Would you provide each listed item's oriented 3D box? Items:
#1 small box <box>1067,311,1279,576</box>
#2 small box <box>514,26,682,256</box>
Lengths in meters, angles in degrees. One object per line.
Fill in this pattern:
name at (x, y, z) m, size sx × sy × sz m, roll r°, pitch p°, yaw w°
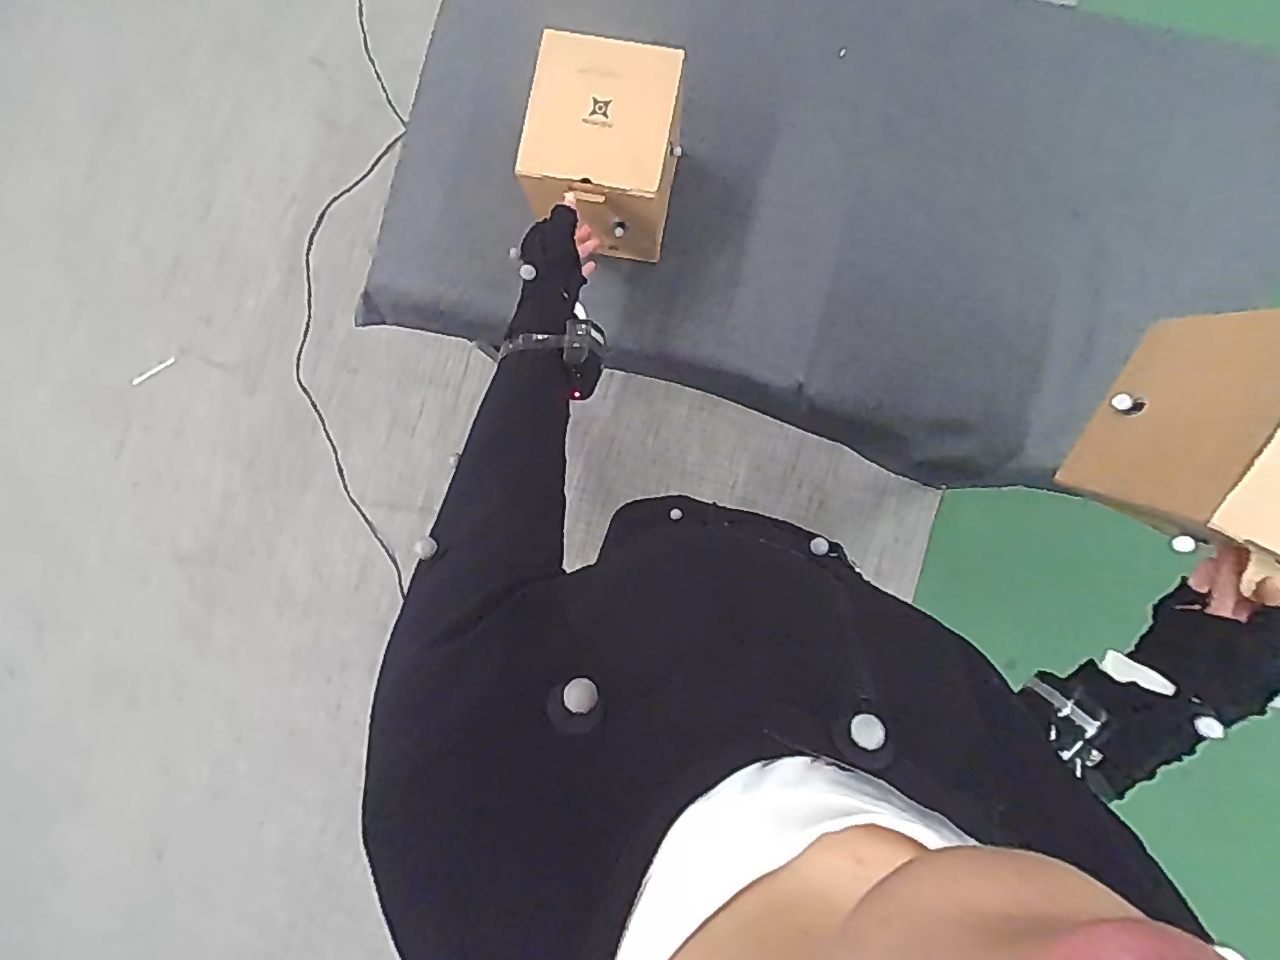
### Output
small box at (0.525, -0.026, 0.462) m, size 0.168 × 0.176 × 0.179 m, roll 25°, pitch 102°, yaw -2°
small box at (-0.045, -0.412, 0.686) m, size 0.168 × 0.176 × 0.179 m, roll 10°, pitch 86°, yaw 1°
